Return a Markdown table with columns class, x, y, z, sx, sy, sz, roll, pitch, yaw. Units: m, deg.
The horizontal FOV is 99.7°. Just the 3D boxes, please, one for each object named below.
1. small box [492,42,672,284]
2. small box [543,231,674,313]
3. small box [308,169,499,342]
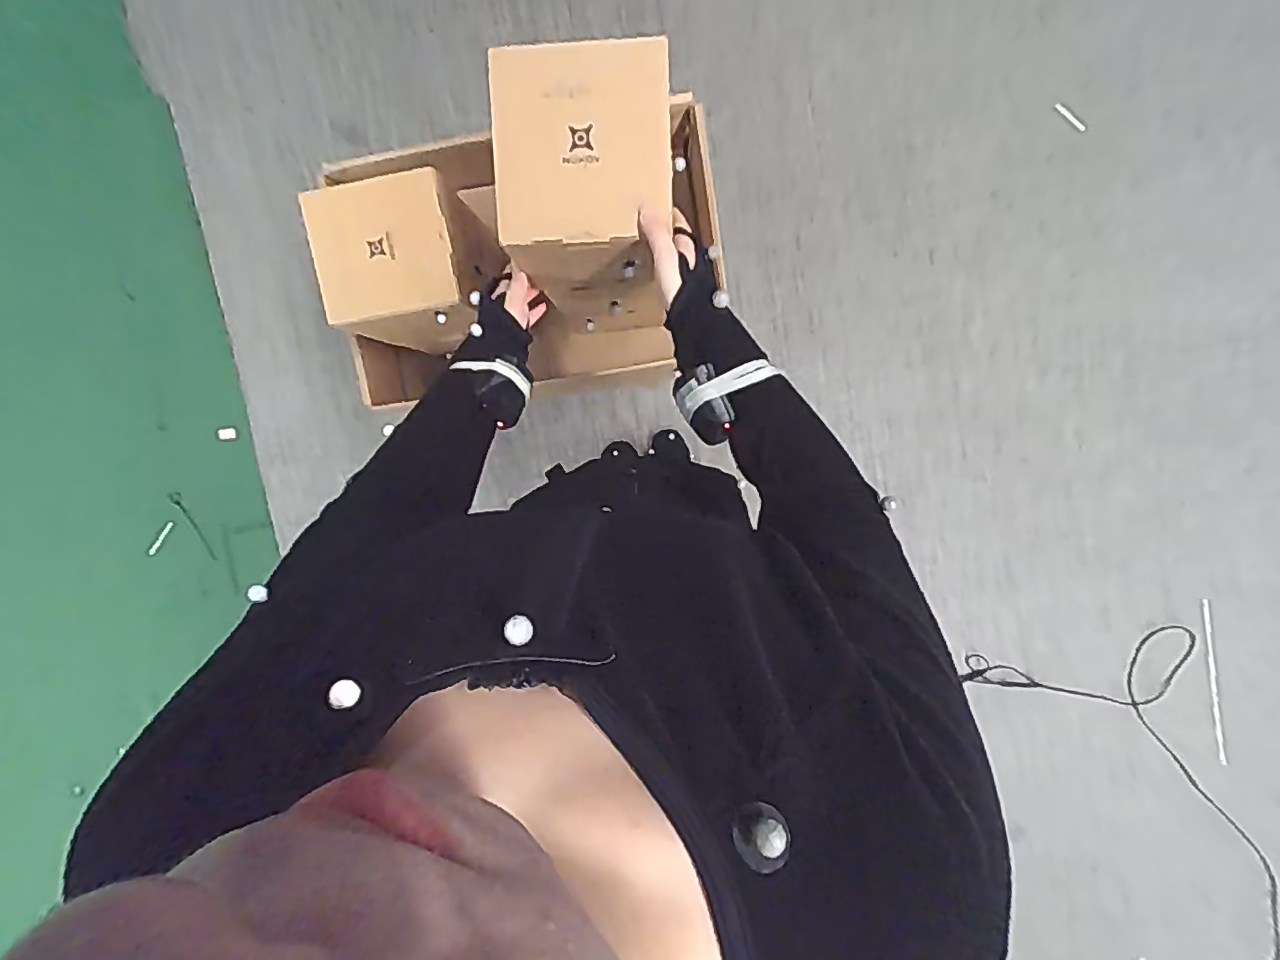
| class | x | y | z | sx | sy | sz | roll | pitch | yaw |
| --- | --- | --- | --- | --- | --- | --- | --- | --- | --- |
| small box | -0.049 | -0.315 | 0.579 | 0.168 | 0.176 | 0.179 | -1 | 95 | 3 |
| small box | -0.038 | -0.331 | 0.741 | 0.168 | 0.176 | 0.179 | -3 | 96 | 3 |
| small box | -0.318 | -0.300 | 0.761 | 0.179 | 0.176 | 0.168 | -10 | 95 | 3 |
